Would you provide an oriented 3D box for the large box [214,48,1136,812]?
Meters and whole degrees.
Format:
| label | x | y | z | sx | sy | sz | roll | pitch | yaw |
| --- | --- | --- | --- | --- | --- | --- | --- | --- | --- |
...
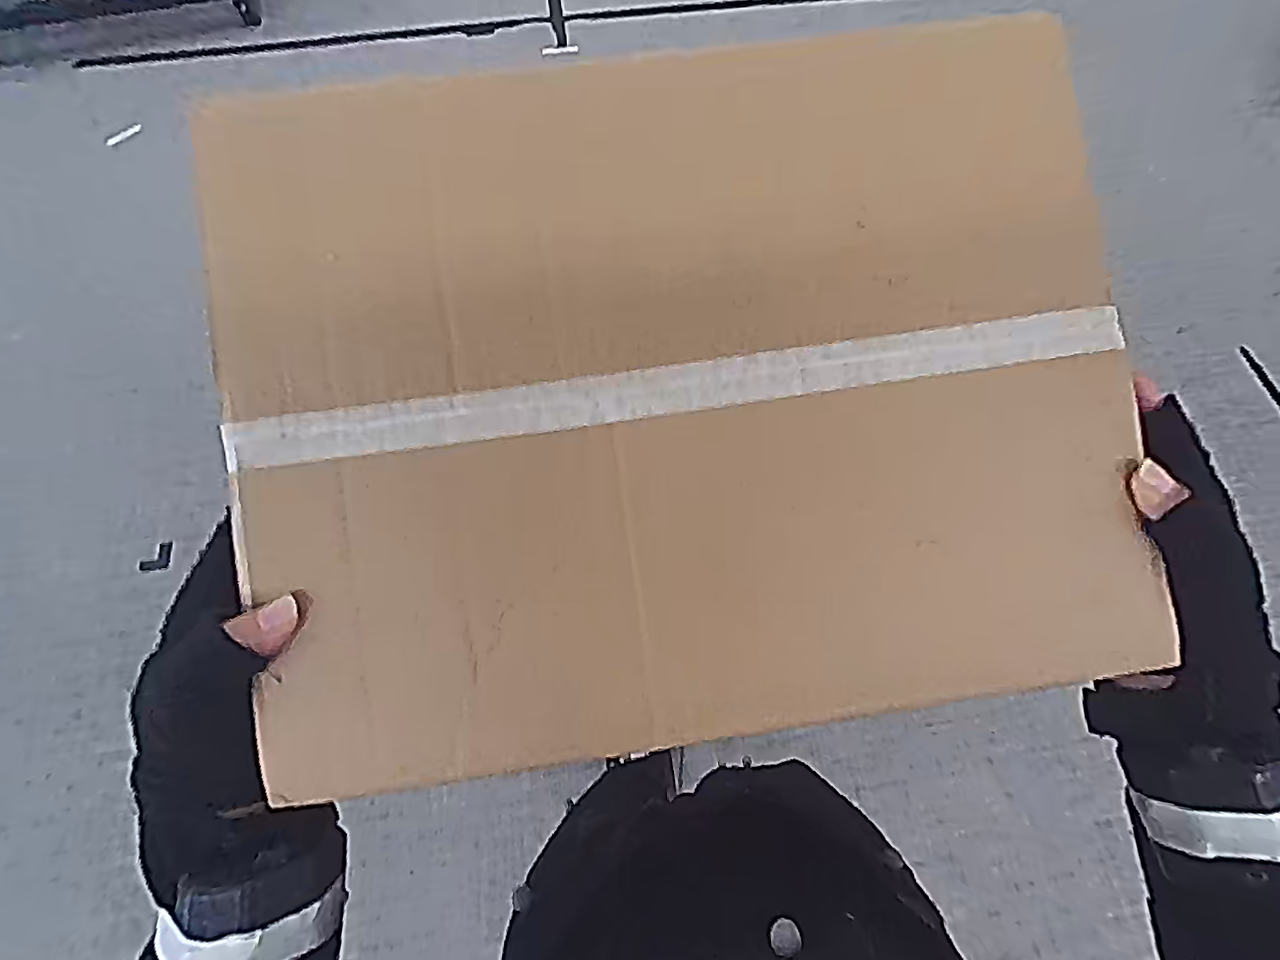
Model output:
| label | x | y | z | sx | sy | sz | roll | pitch | yaw |
| --- | --- | --- | --- | --- | --- | --- | --- | --- | --- |
| large box | 0.016 | -0.027 | 0.402 | 0.408 | 0.320 | 0.320 | -8 | 87 | -2 |
